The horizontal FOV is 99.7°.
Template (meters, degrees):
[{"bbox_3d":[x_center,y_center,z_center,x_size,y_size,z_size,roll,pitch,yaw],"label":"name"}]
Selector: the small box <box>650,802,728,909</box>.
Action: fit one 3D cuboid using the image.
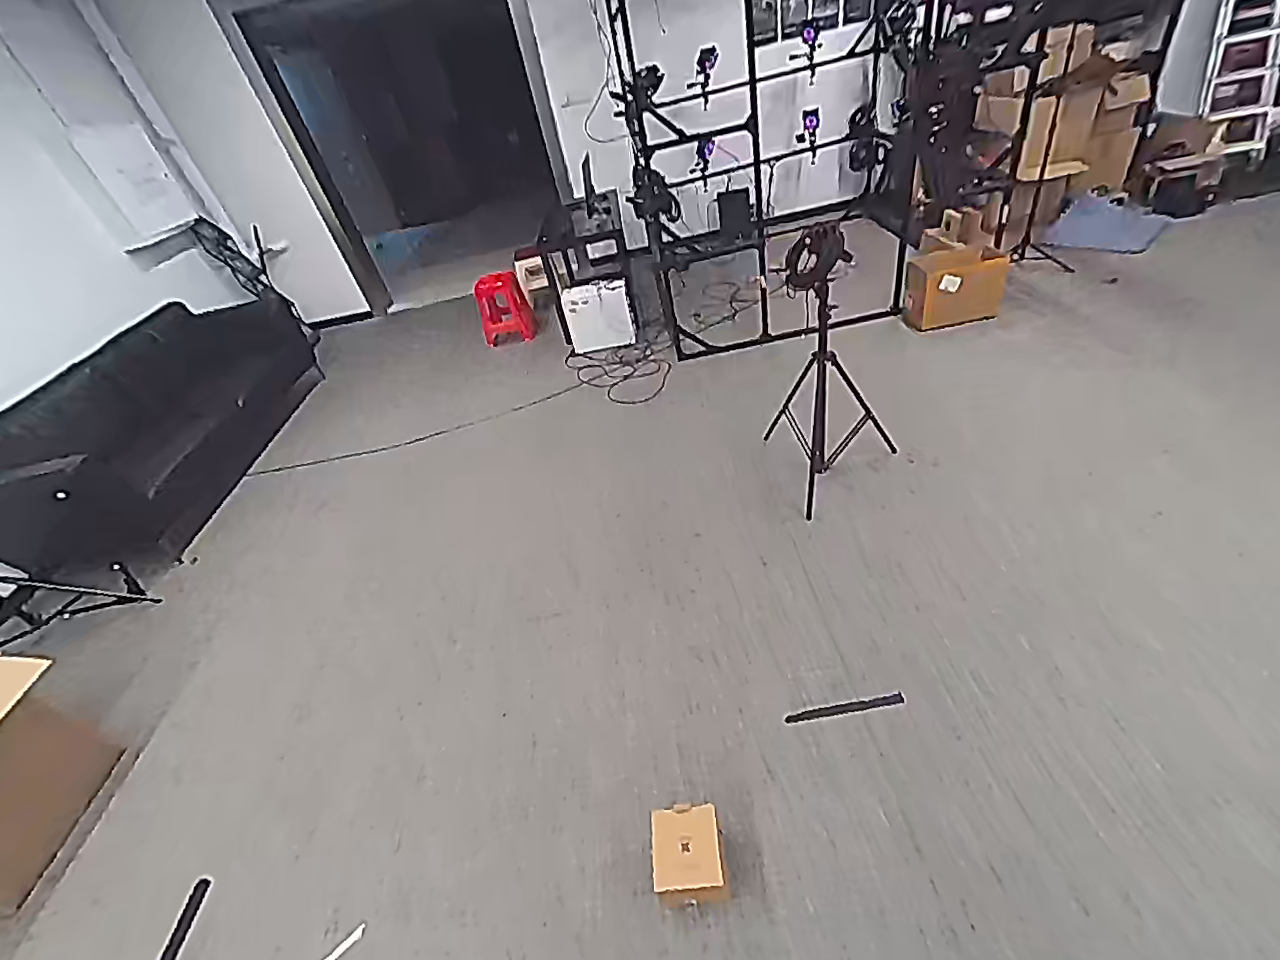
[{"bbox_3d":[0.122,0.946,1.361,0.168,0.176,0.179,-11,38,7],"label":"small box"}]
